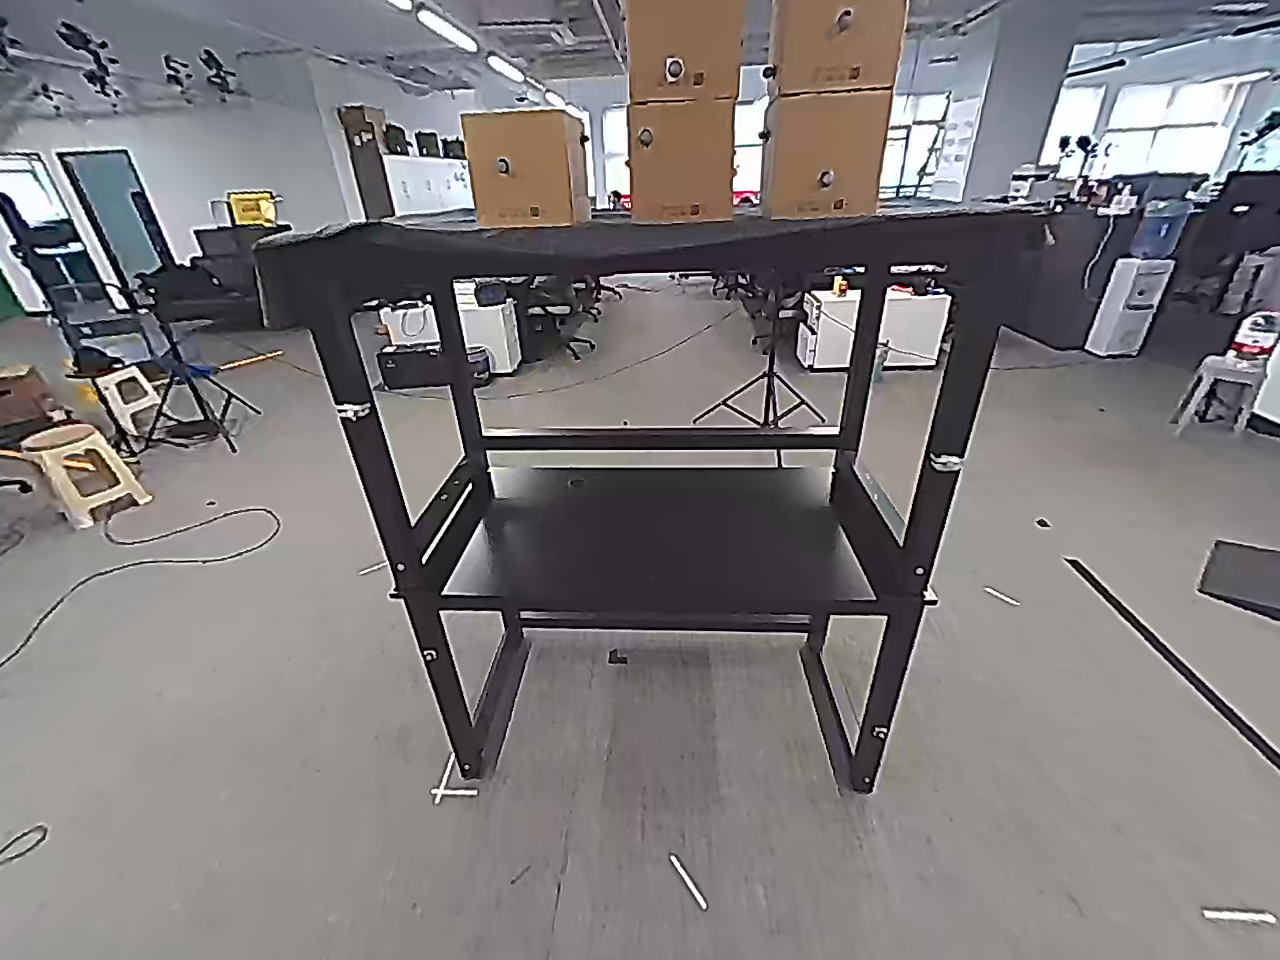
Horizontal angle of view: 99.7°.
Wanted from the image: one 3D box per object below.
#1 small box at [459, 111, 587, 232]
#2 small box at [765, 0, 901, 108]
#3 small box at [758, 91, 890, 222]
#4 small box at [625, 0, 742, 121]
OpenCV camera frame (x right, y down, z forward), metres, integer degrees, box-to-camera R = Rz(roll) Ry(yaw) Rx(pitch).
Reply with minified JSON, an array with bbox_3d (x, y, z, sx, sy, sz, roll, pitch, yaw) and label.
[{"bbox_3d":[-0.190,-0.528,0.943,0.168,0.176,0.179,1,28,6],"label":"small box"},{"bbox_3d":[0.283,-0.667,0.813,0.168,0.176,0.179,1,29,6],"label":"small box"},{"bbox_3d":[0.288,-0.522,0.890,0.168,0.176,0.179,-1,29,6],"label":"small box"},{"bbox_3d":[0.065,-0.670,0.841,0.168,0.176,0.179,-2,28,4],"label":"small box"}]
